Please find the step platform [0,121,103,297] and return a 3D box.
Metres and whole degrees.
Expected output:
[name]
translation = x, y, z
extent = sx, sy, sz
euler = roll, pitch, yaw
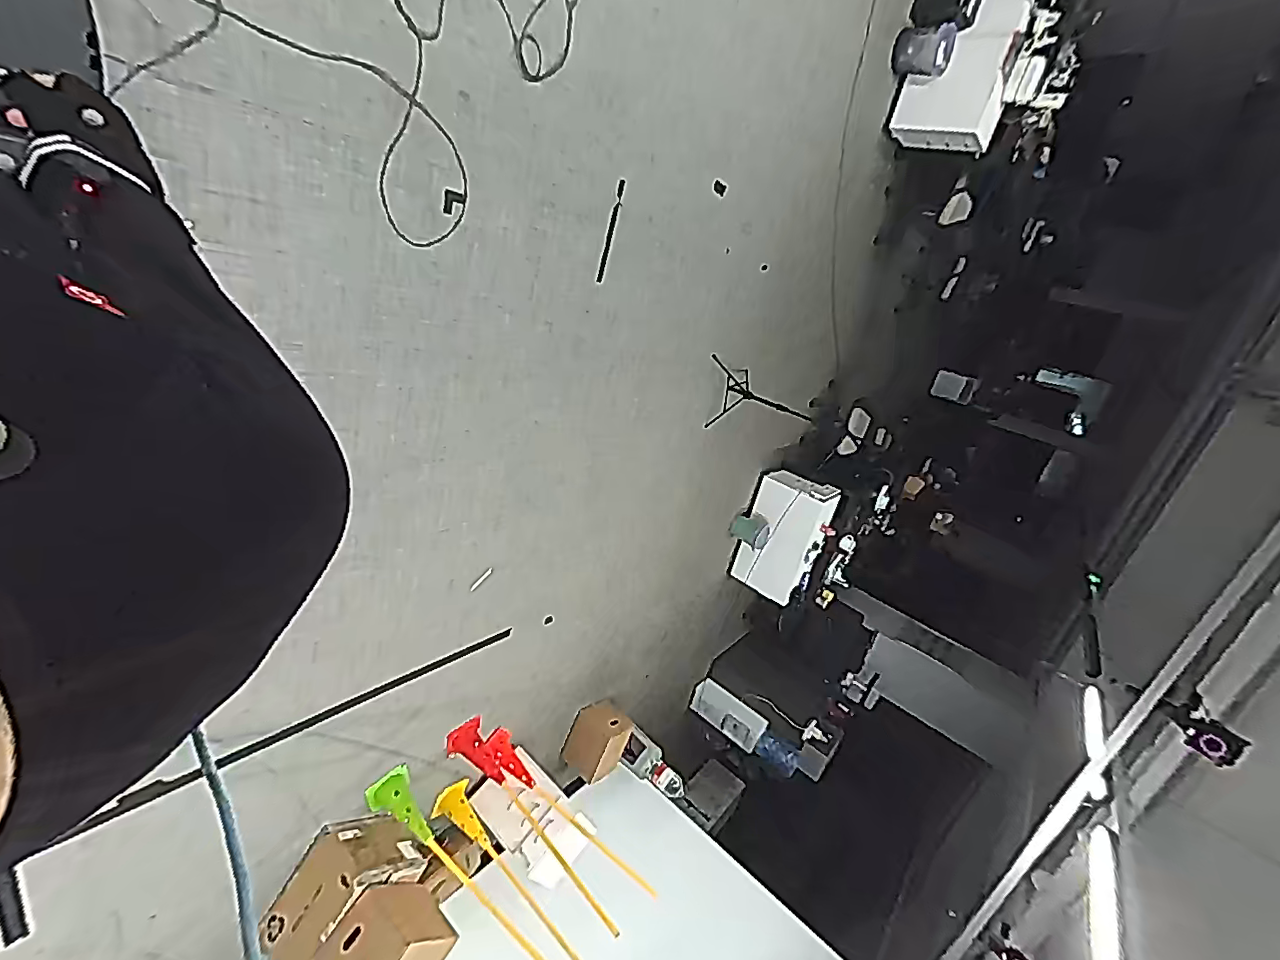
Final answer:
[step platform]
translation = -1.294, -0.462, 0.819
extent = 0.684, 0.204, 0.286
euler = -14, 125, -49
